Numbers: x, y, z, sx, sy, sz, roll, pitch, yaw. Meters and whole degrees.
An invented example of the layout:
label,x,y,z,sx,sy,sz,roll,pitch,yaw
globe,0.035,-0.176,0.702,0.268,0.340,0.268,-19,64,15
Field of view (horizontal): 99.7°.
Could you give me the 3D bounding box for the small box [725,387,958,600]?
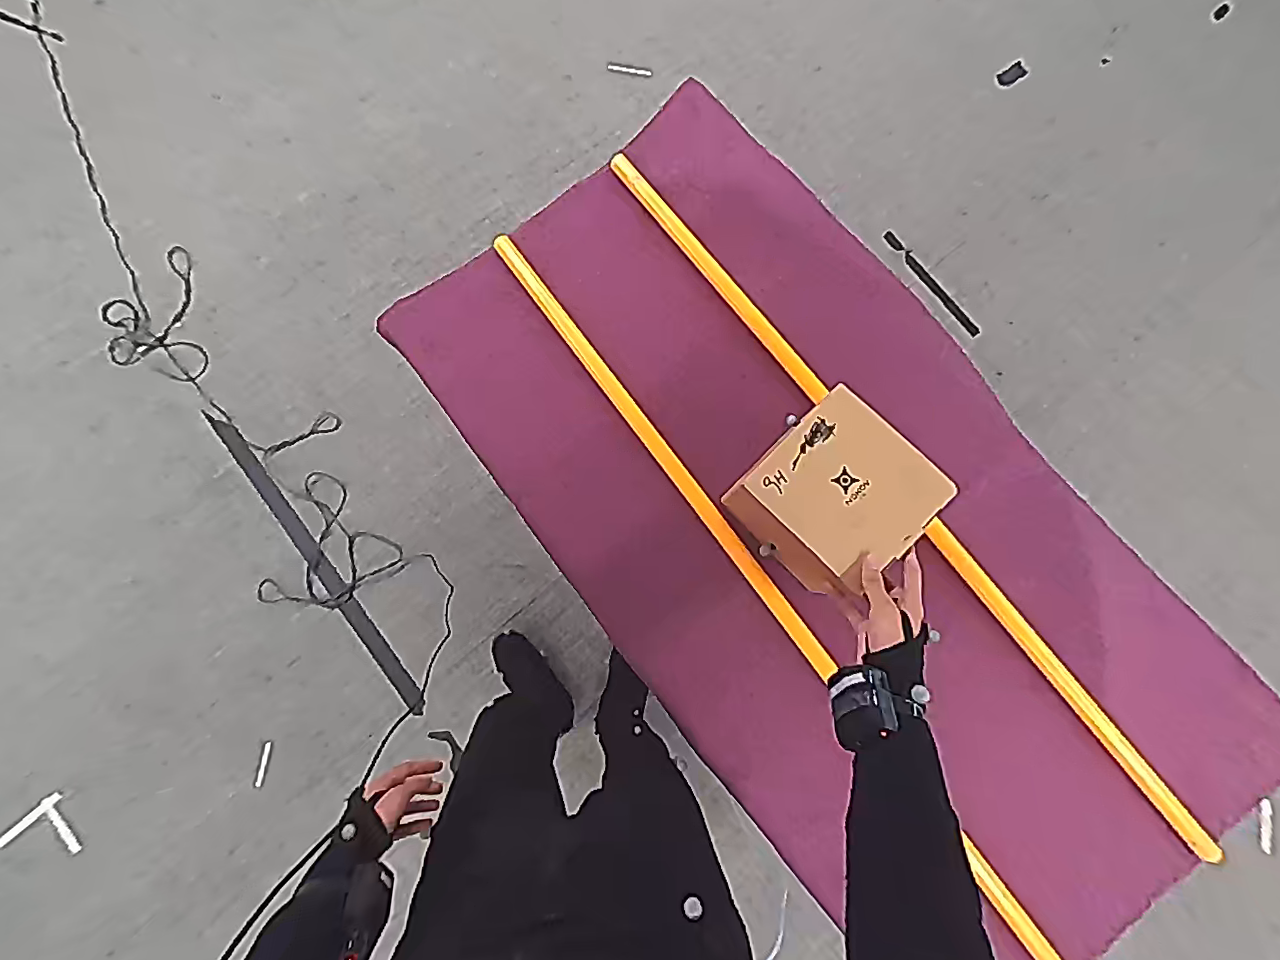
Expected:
label,x,y,z,sx,sy,sz,roll,pitch,yaw
small box,0.228,0.021,0.661,0.168,0.176,0.179,-44,84,-6
